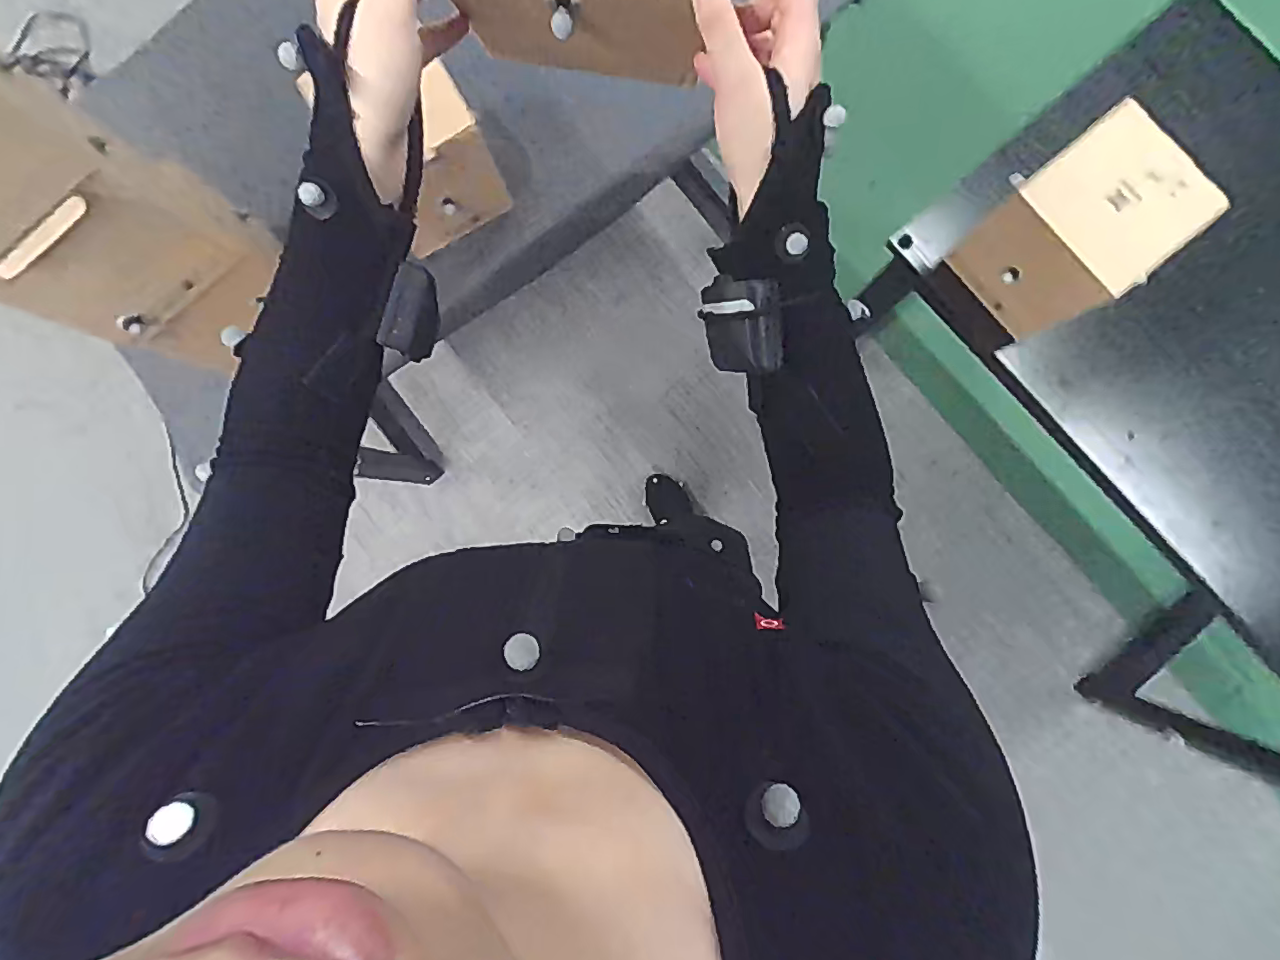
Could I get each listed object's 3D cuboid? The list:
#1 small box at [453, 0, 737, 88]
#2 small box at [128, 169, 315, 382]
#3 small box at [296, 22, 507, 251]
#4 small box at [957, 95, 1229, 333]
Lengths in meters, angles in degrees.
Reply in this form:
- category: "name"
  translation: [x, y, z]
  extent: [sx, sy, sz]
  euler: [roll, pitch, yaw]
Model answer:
- category: "small box"
  translation: [-0.021, -0.376, 0.343]
  extent: [0.179, 0.176, 0.168]
  euler: [8, 112, -1]
- category: "small box"
  translation: [-0.586, -0.263, 0.737]
  extent: [0.179, 0.176, 0.168]
  euler: [-40, 84, 0]
- category: "small box"
  translation: [-0.306, -0.442, 0.734]
  extent: [0.168, 0.176, 0.179]
  euler: [-30, 85, 1]
- category: "small box"
  translation: [0.547, -0.319, 0.690]
  extent: [0.179, 0.176, 0.168]
  euler: [-40, 87, -1]
